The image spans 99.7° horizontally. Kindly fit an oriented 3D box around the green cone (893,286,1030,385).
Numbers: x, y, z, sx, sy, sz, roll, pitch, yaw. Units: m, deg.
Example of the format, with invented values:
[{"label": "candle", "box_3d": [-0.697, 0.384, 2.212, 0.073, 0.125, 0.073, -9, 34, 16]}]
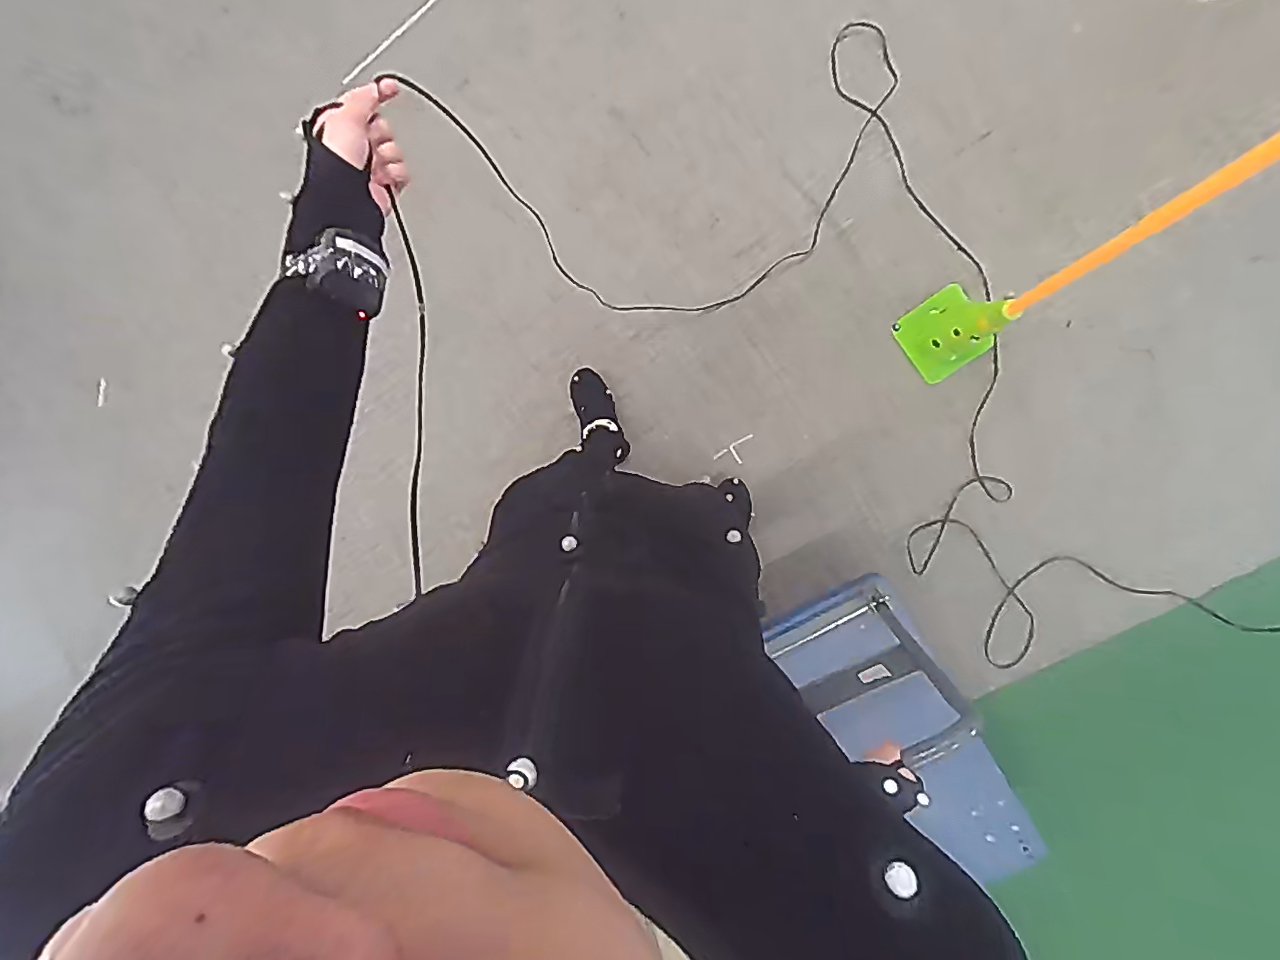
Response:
[{"label": "green cone", "box_3d": [0.781, -0.360, 1.262, 0.202, 0.368, 0.200, -36, 91, 10]}]
